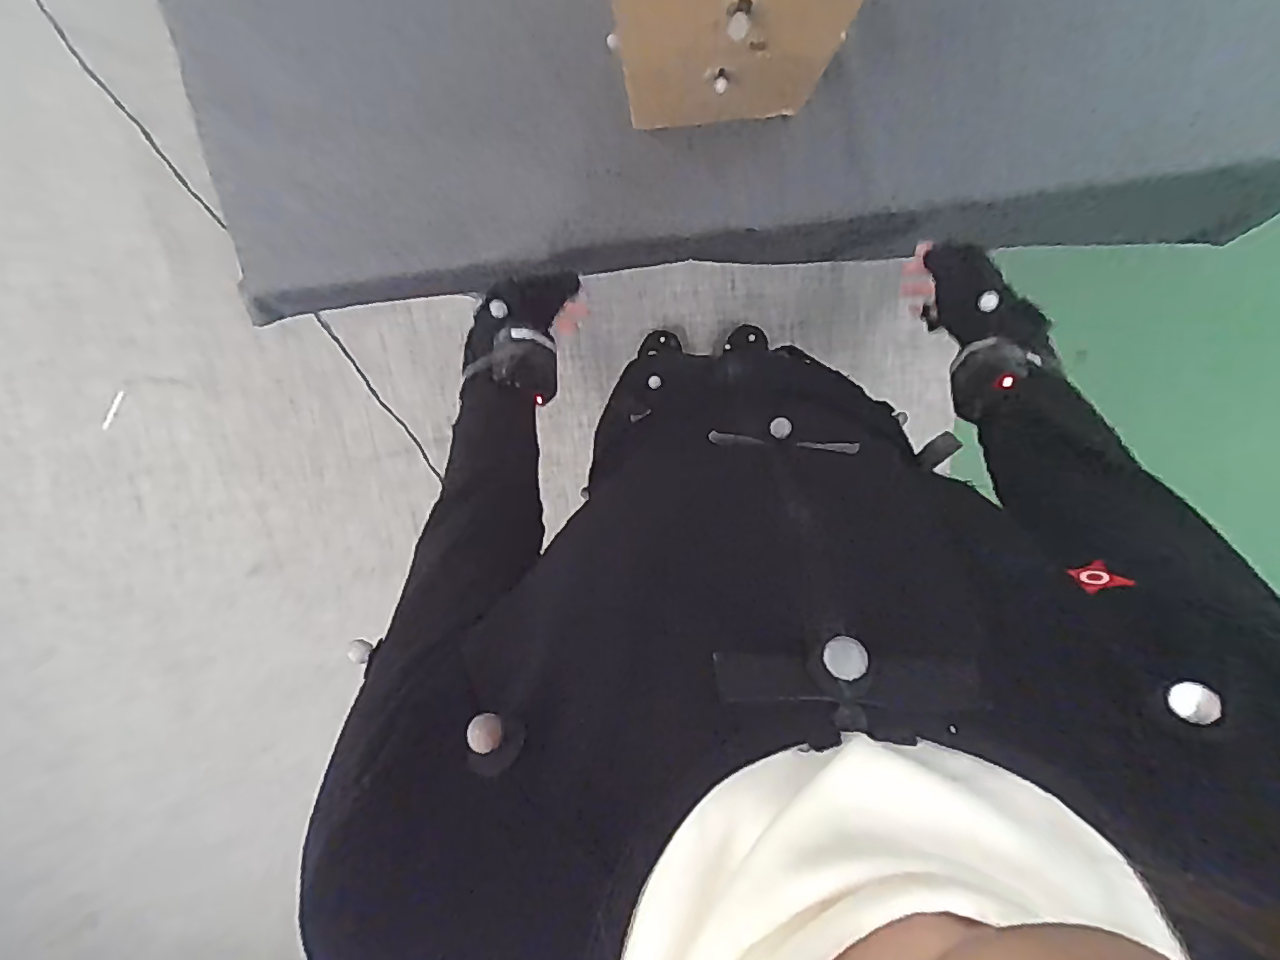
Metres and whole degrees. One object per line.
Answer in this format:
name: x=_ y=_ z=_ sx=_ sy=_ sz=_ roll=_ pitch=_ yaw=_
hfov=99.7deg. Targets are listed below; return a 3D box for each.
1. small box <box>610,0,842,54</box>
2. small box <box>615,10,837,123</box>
small box: x=0.056 y=-0.396 z=0.331 sx=0.168 sy=0.176 sz=0.179 roll=-3 pitch=108 yaw=4
small box: x=0.067 y=-0.446 z=0.487 sx=0.179 sy=0.176 sz=0.168 roll=-4 pitch=107 yaw=3
